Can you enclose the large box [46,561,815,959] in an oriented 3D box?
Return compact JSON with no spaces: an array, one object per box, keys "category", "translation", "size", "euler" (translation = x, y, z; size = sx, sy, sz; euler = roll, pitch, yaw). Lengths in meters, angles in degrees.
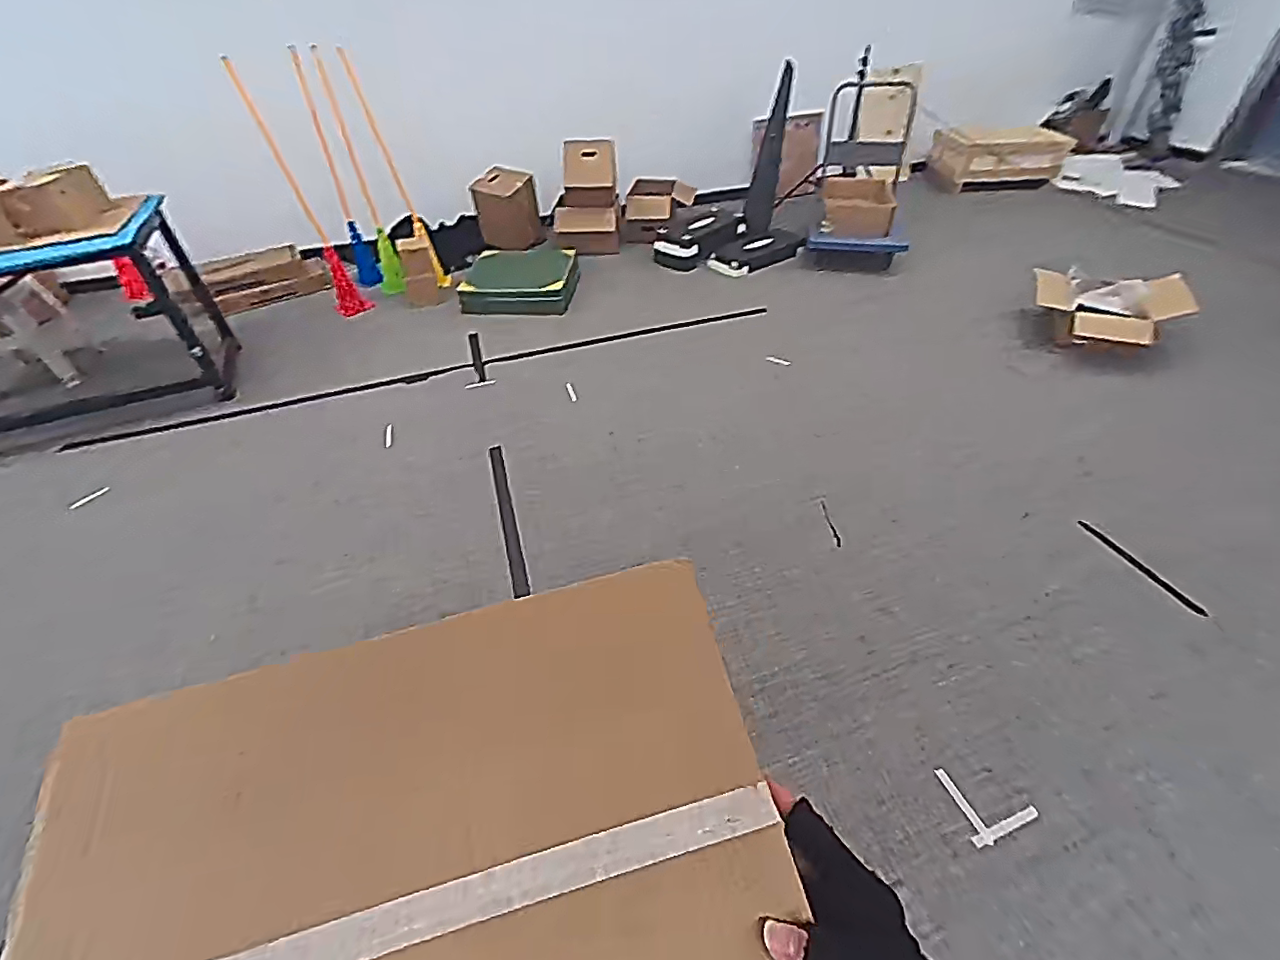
[{"category":"large box","translation":[-0.117,0.308,0.425],"size":[0.408,0.320,0.320],"euler":[-14,62,-6]}]
